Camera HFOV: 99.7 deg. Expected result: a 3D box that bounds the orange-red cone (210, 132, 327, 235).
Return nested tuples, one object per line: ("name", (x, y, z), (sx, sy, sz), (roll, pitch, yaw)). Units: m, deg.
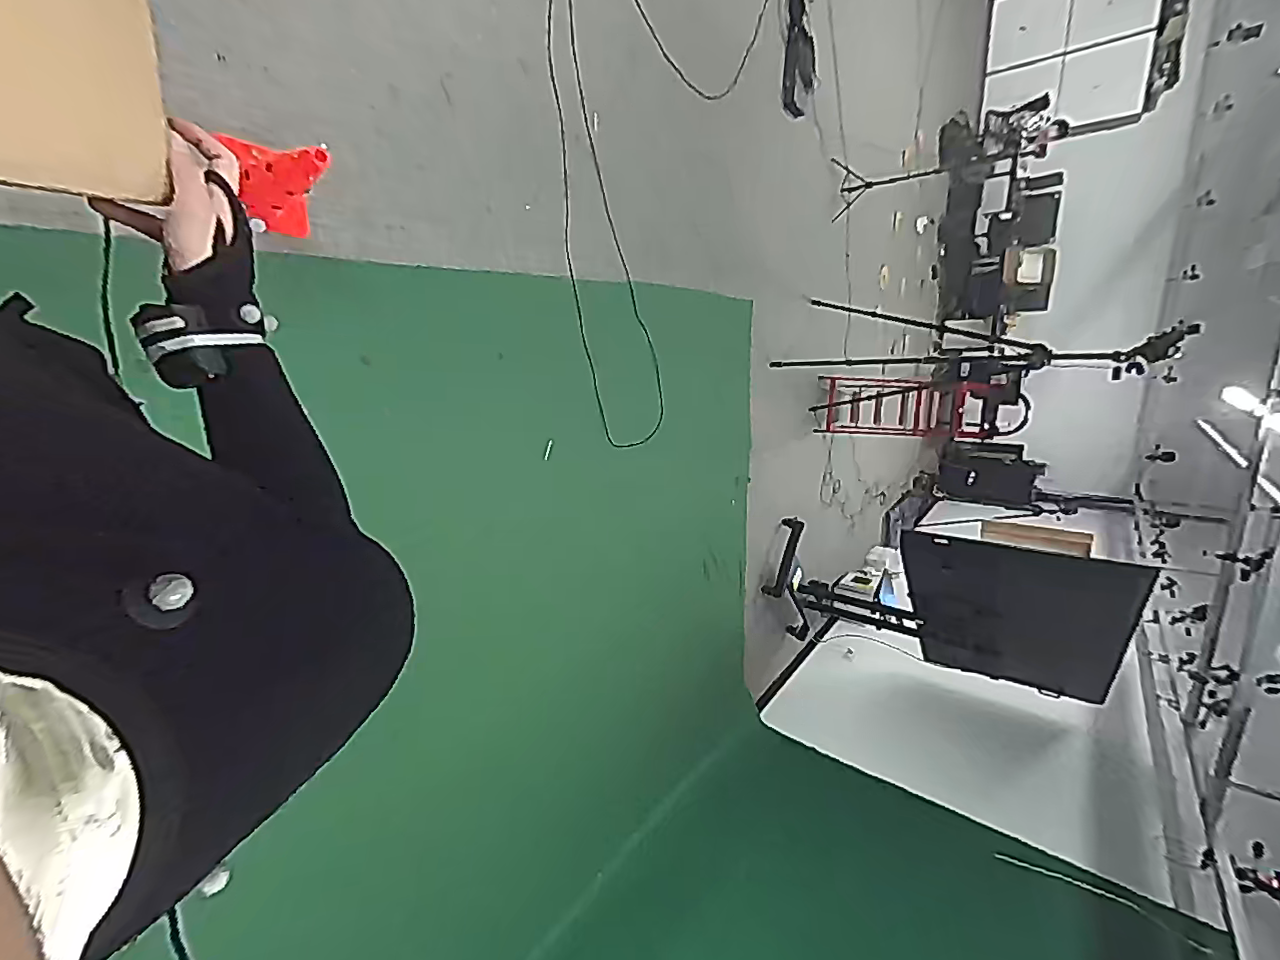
("orange-red cone", (-0.826, -0.718, 1.263), (0.199, 0.360, 0.198), (-9, 105, -53))
